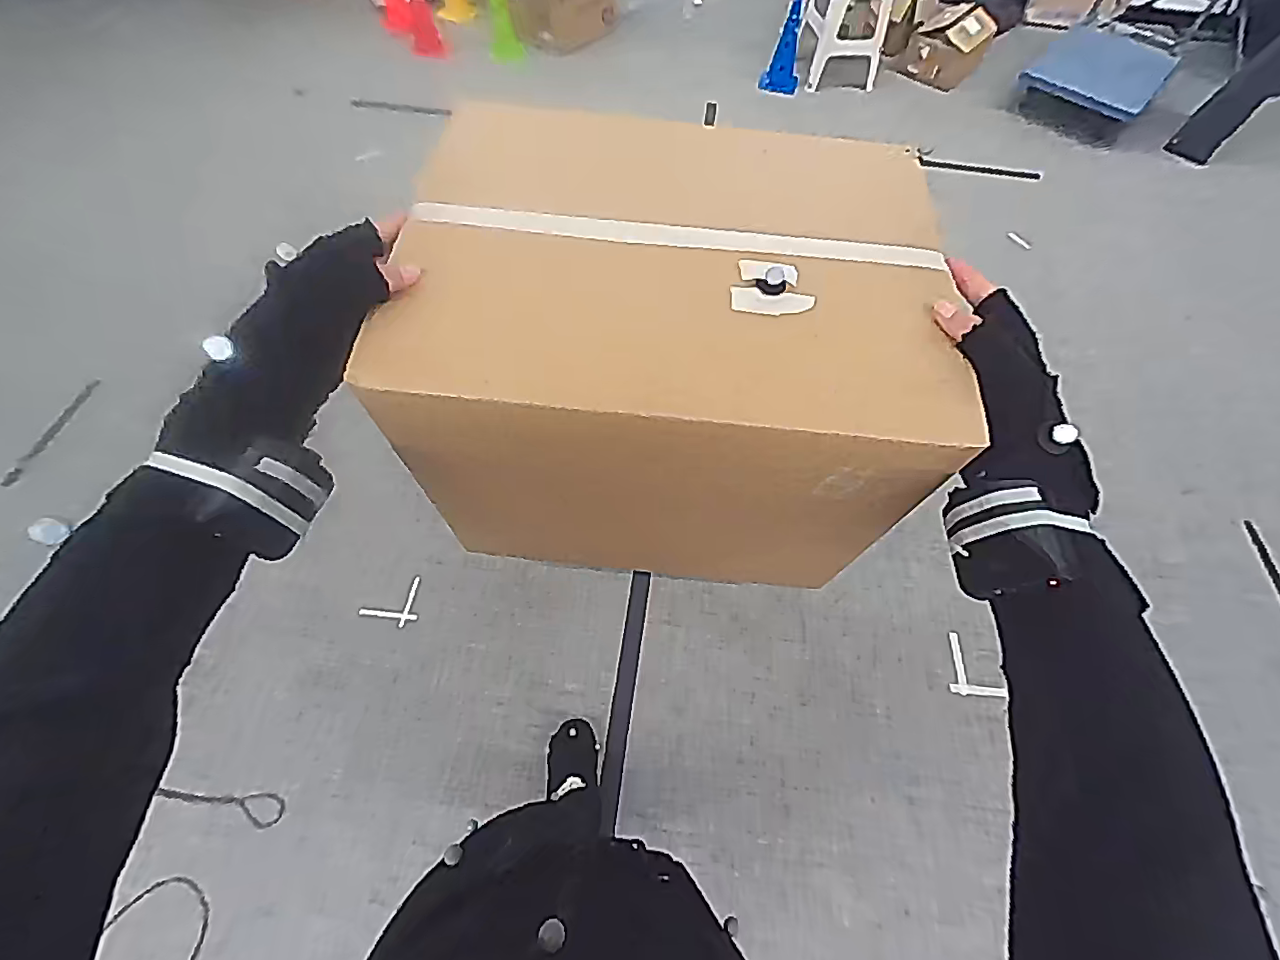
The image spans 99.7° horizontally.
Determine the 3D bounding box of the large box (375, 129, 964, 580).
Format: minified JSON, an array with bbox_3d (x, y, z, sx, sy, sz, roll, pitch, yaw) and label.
[{"bbox_3d":[0.022,-0.102,0.558,0.408,0.320,0.320,6,63,0],"label":"large box"}]
